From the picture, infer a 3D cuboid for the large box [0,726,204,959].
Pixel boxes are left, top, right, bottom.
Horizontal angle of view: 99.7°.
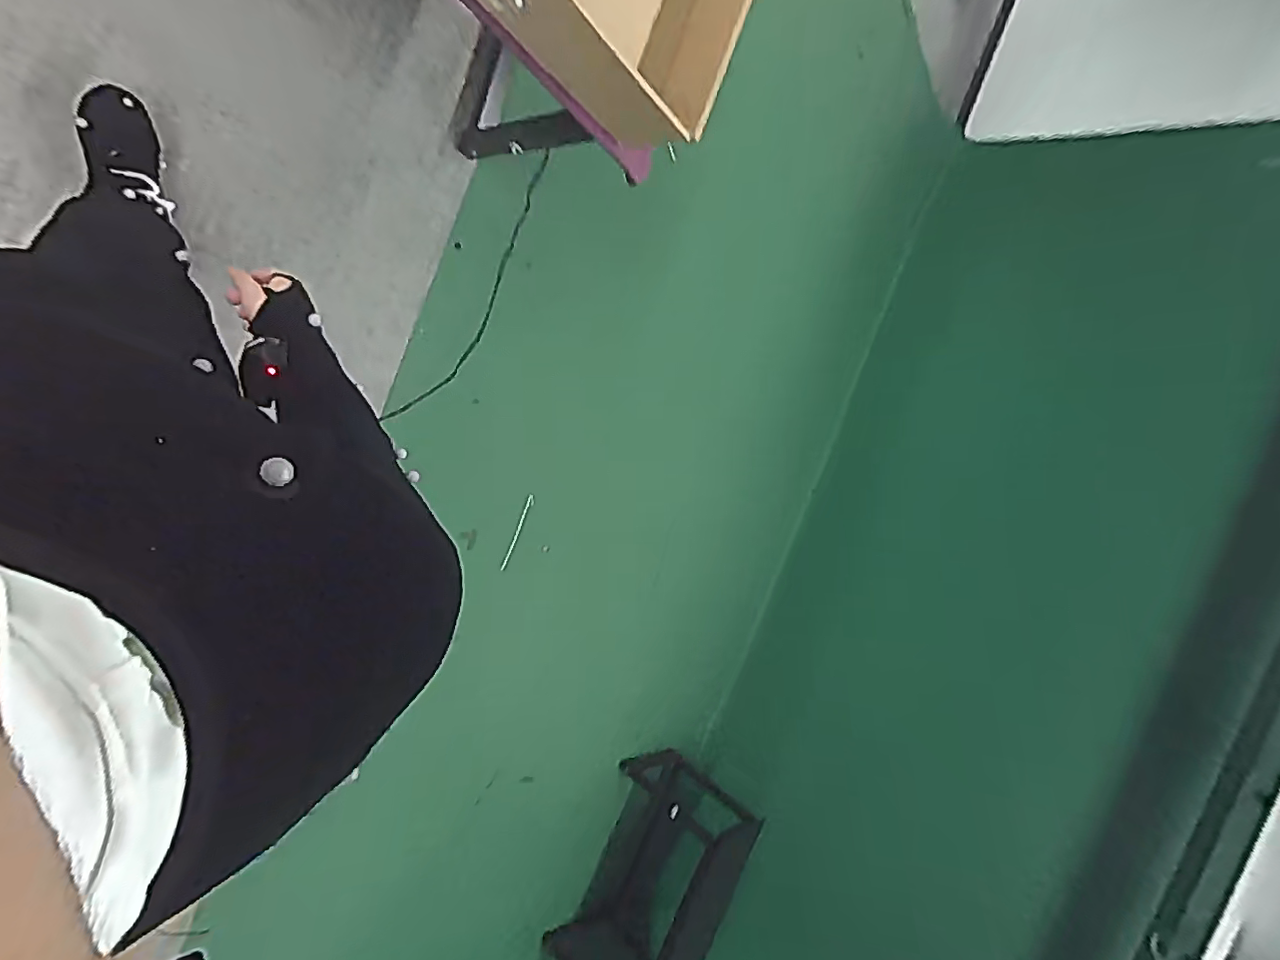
[{"bbox_3d":[-1.359,0.888,1.277,0.408,0.320,0.320,-26,128,-40],"label":"large box"}]
